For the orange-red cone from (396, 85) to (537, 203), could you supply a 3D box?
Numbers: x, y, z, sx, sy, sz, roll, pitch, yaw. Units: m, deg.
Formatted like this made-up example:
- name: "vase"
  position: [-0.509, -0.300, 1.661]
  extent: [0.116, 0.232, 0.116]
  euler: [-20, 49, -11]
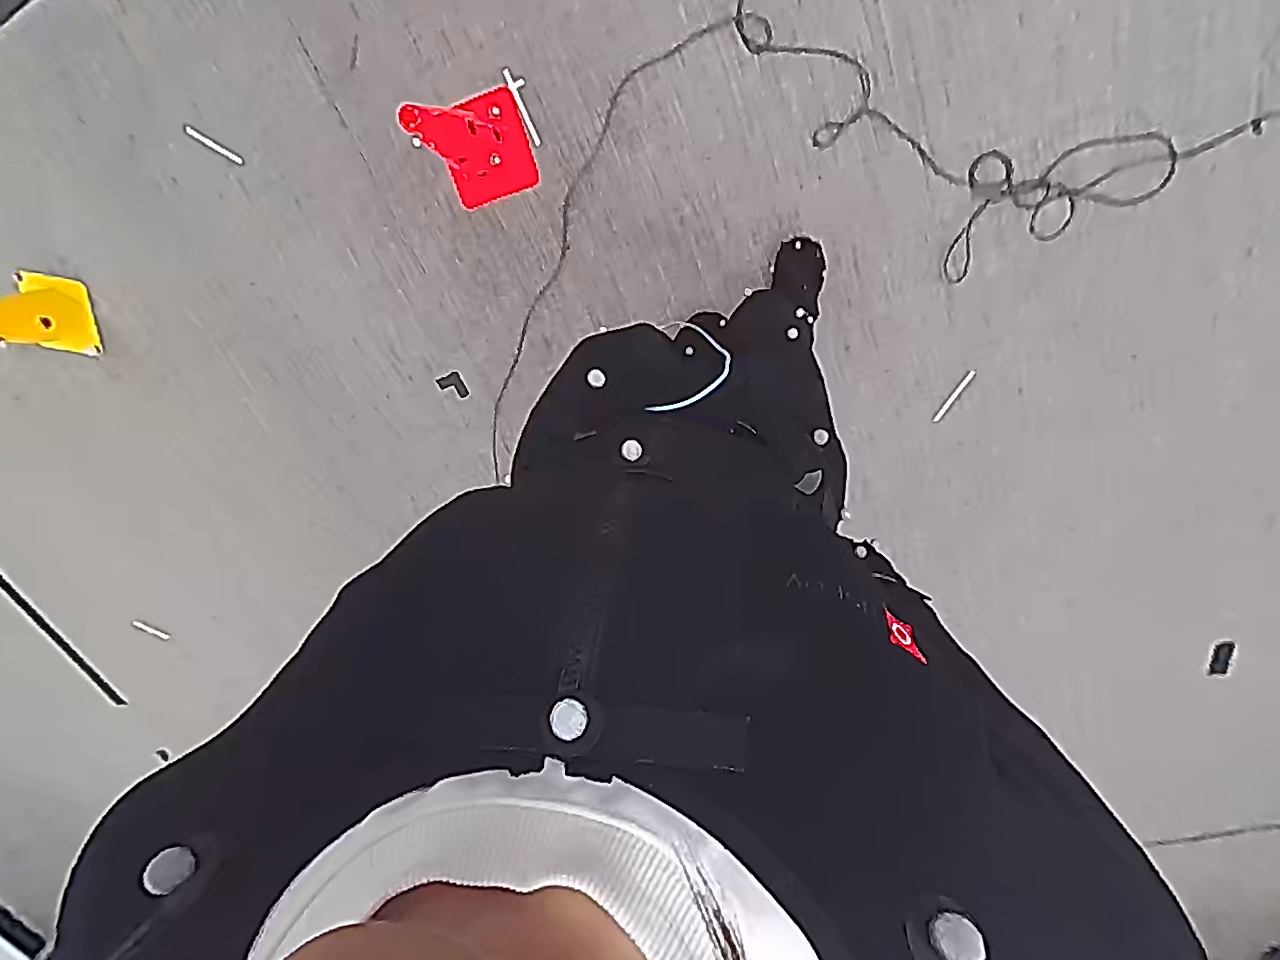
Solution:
- name: "orange-red cone"
  position: [-0.362, -0.673, 1.045]
  extent: [0.199, 0.360, 0.198]
  euler: [-11, 111, 13]
